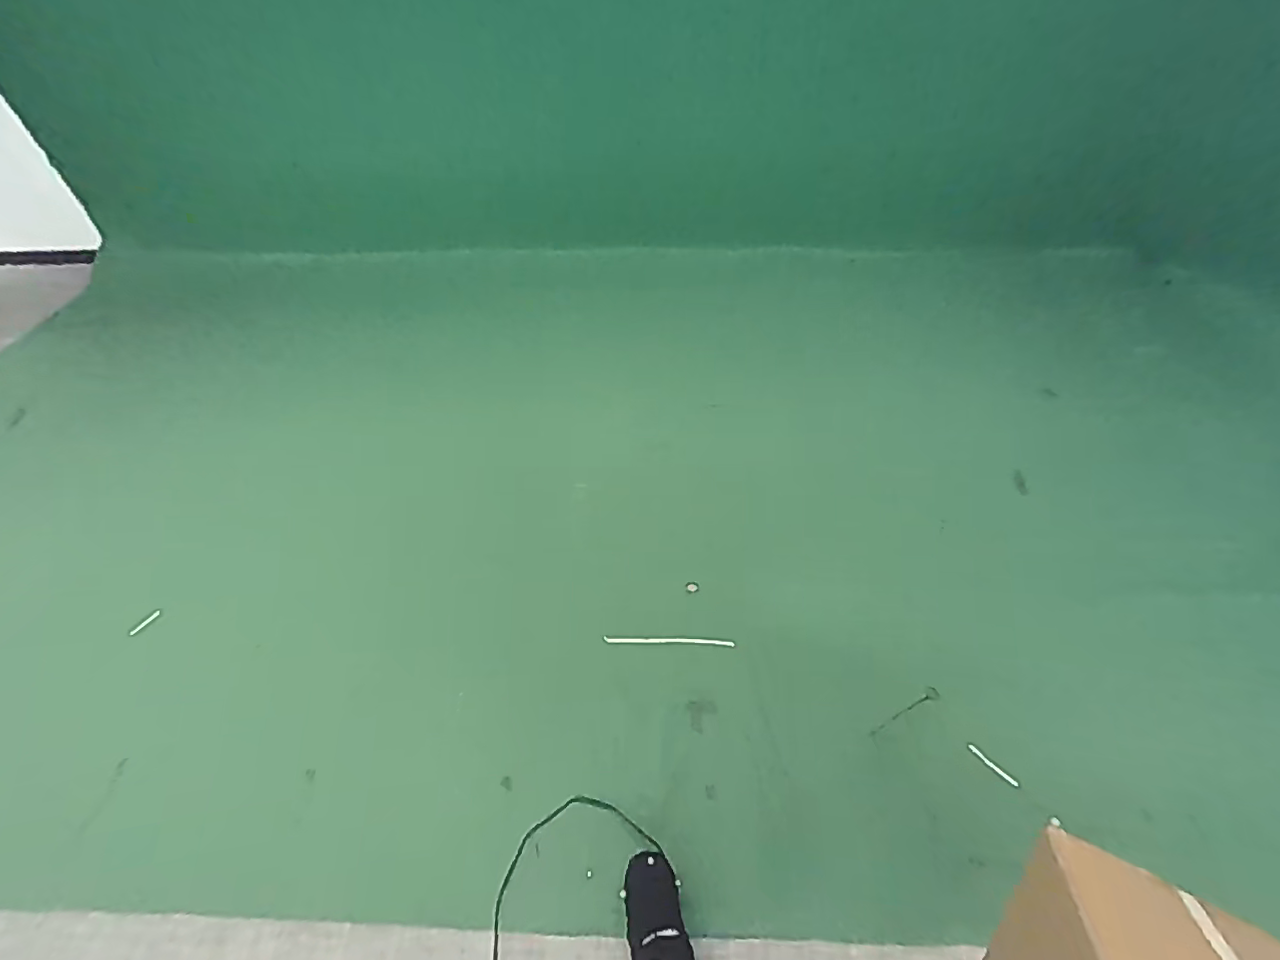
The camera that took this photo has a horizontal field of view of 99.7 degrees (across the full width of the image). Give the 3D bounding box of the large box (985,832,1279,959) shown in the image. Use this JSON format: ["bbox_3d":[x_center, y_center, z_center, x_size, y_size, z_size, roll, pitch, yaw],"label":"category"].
[{"bbox_3d":[0.589,0.703,0.572,0.320,0.320,0.408,22,9,24],"label":"large box"}]
